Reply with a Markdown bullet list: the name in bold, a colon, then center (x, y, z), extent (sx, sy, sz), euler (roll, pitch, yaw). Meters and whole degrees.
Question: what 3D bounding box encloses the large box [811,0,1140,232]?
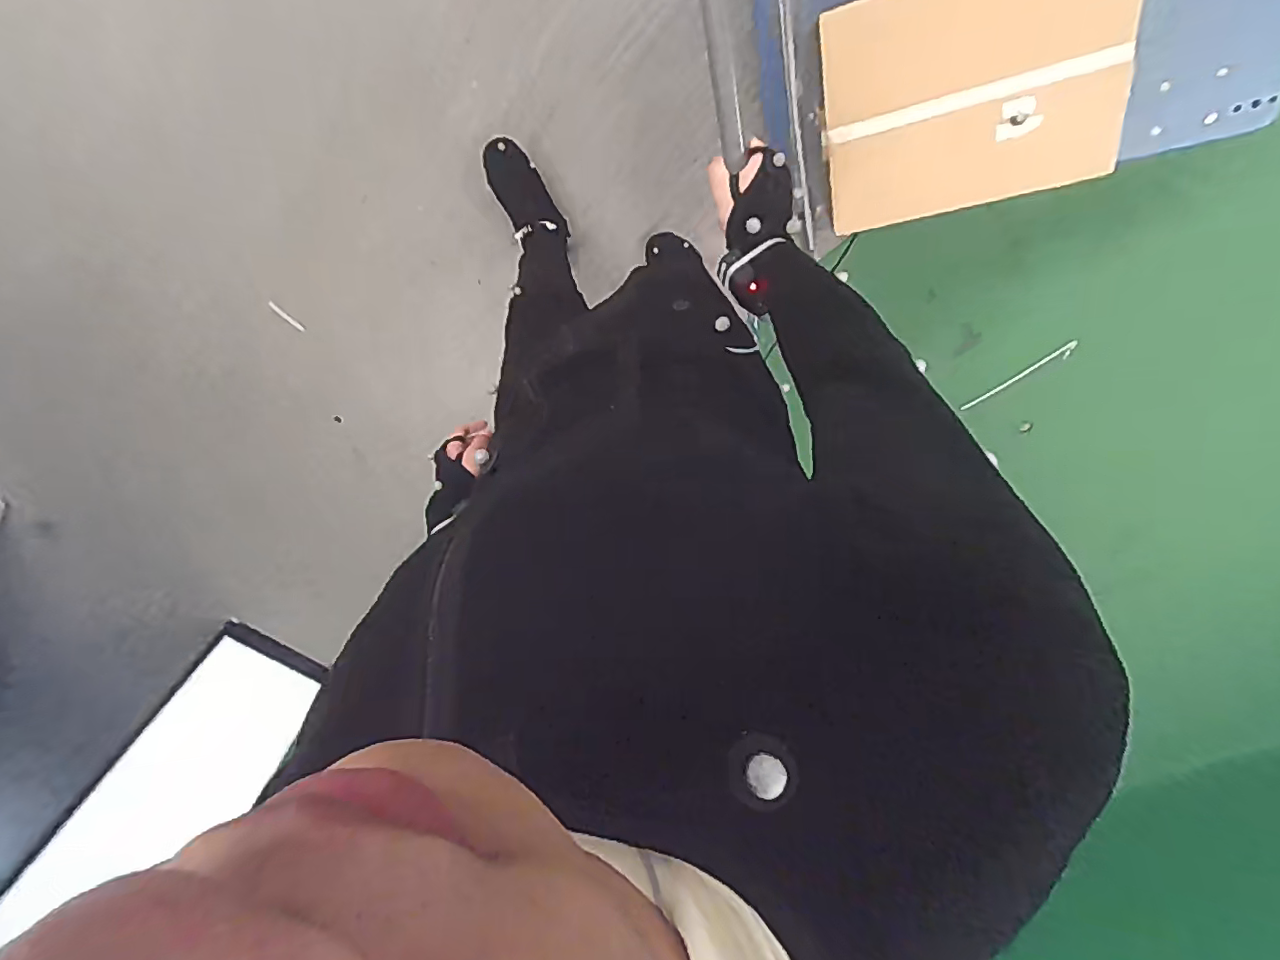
- **large box**: center (0.525, -0.665, 0.934), extent (0.408, 0.320, 0.320), euler (-6, 124, 17)
